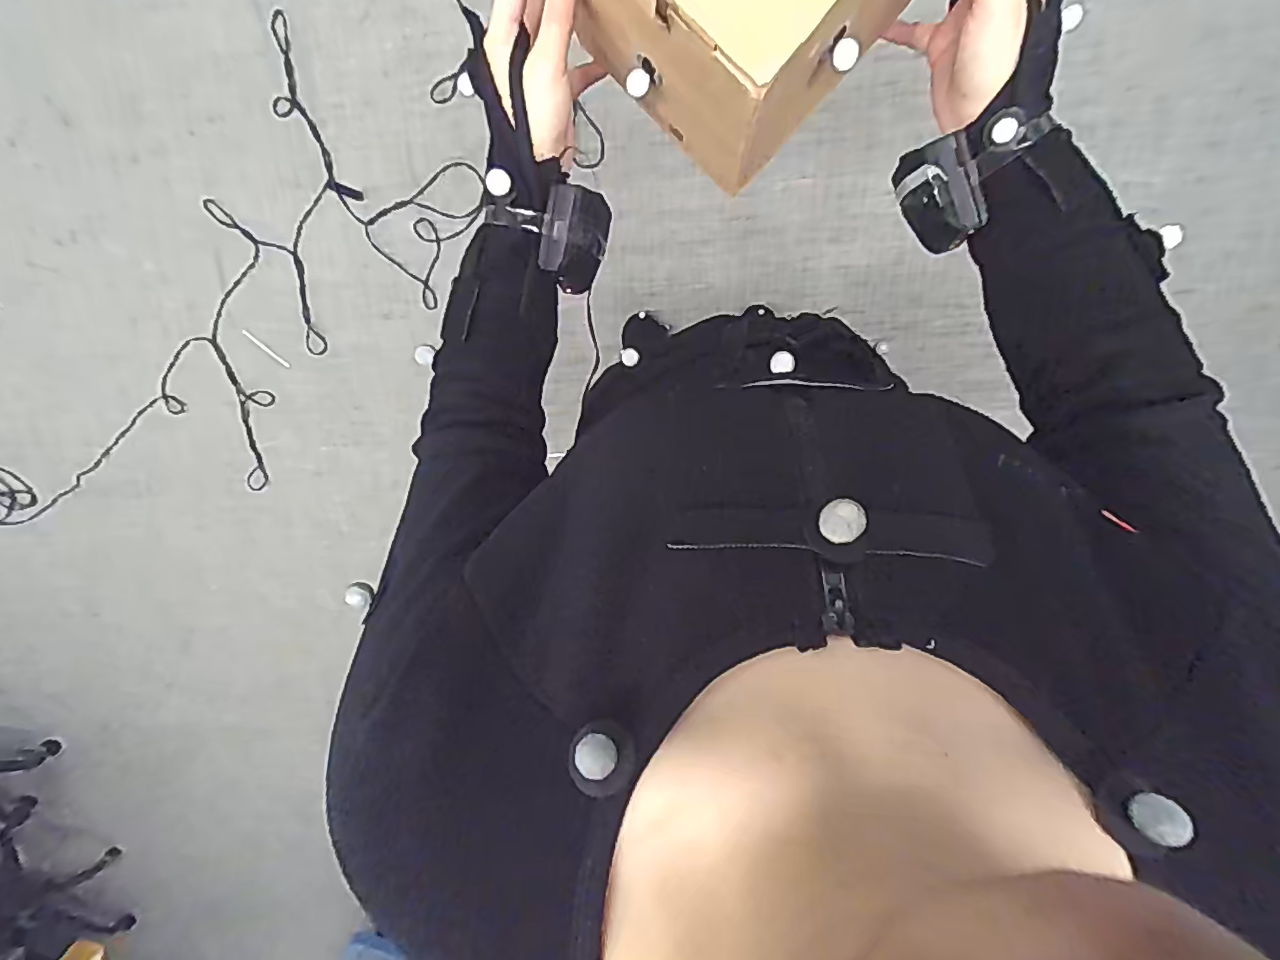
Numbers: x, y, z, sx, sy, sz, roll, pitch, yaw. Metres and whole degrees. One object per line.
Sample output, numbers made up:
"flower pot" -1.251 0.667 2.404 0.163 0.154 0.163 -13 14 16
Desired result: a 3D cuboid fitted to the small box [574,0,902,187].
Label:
"small box" 0.063 -0.317 0.320 0.168 0.176 0.179 43 103 -4
